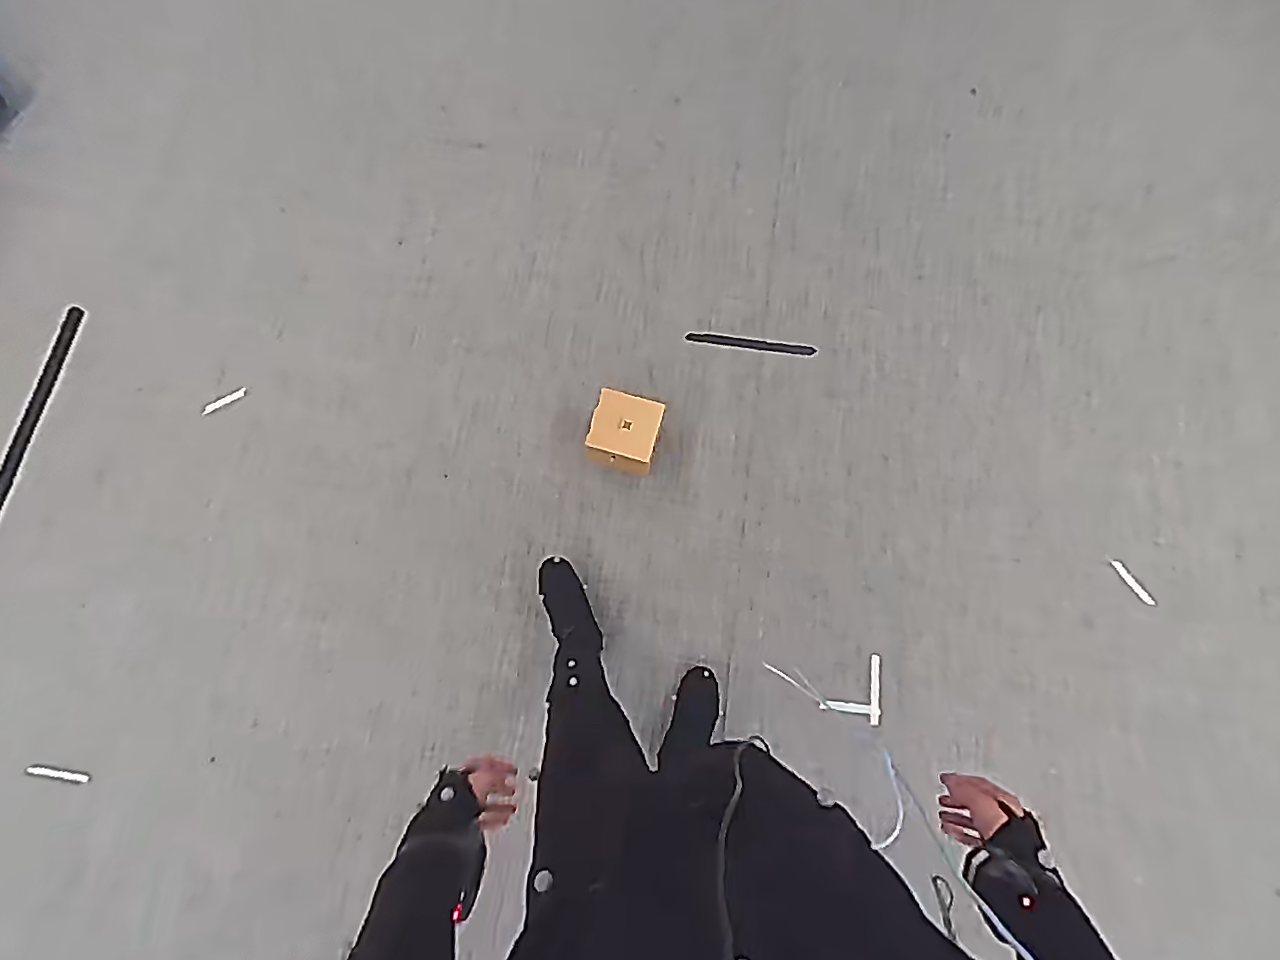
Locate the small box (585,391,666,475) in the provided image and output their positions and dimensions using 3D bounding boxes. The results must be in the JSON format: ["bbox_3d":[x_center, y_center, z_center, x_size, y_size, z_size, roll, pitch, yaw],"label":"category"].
[{"bbox_3d":[-0.038,-0.120,1.481,0.179,0.176,0.168,15,78,3],"label":"small box"}]
